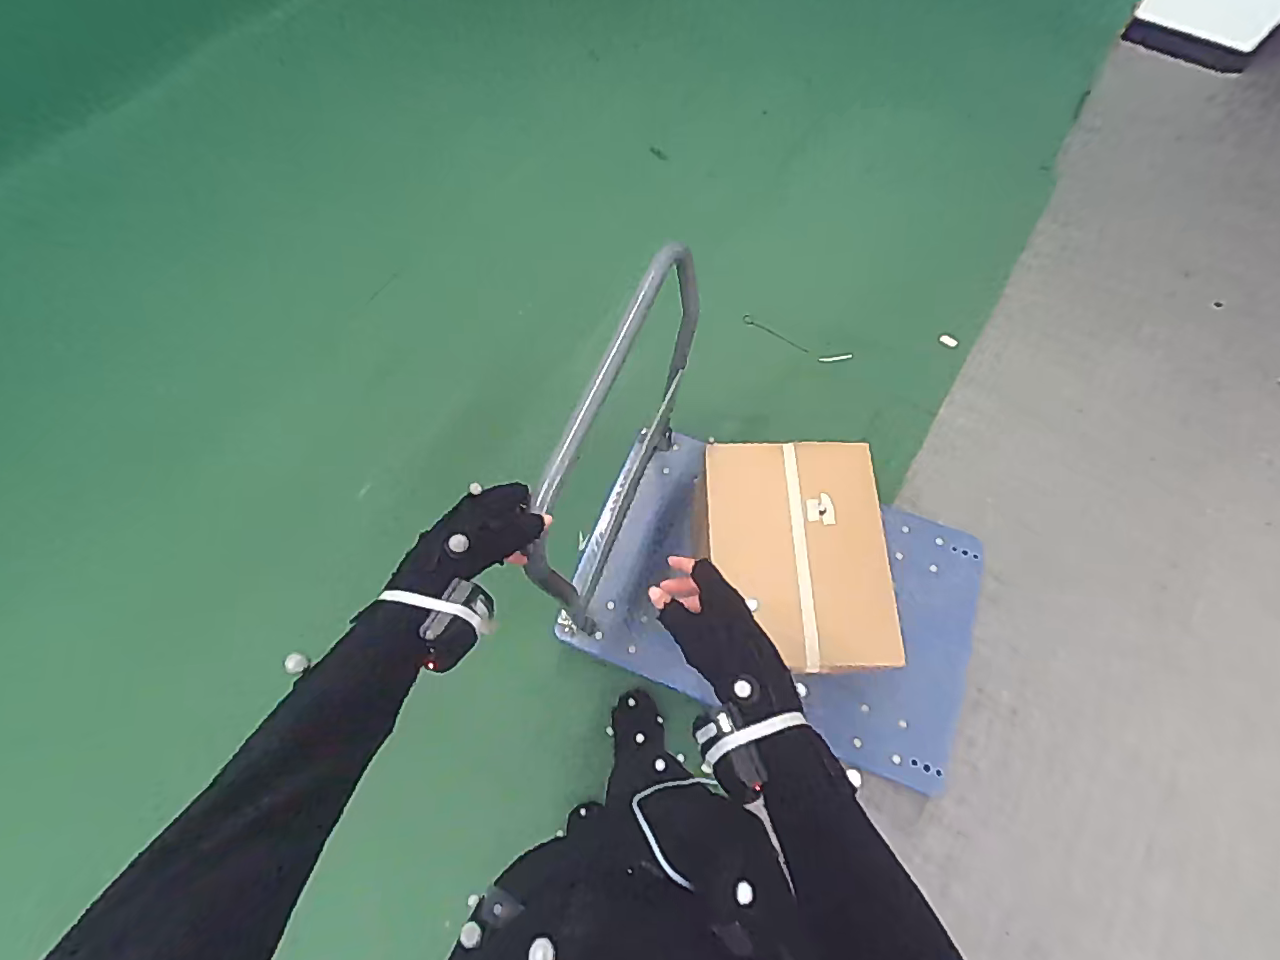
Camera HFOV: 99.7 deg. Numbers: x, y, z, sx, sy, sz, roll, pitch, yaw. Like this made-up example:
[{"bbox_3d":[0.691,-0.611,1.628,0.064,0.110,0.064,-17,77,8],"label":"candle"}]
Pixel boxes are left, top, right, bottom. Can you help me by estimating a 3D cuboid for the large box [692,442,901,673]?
[{"bbox_3d":[0.278,0.171,1.103,0.320,0.320,0.408,0,67,-1],"label":"large box"}]
